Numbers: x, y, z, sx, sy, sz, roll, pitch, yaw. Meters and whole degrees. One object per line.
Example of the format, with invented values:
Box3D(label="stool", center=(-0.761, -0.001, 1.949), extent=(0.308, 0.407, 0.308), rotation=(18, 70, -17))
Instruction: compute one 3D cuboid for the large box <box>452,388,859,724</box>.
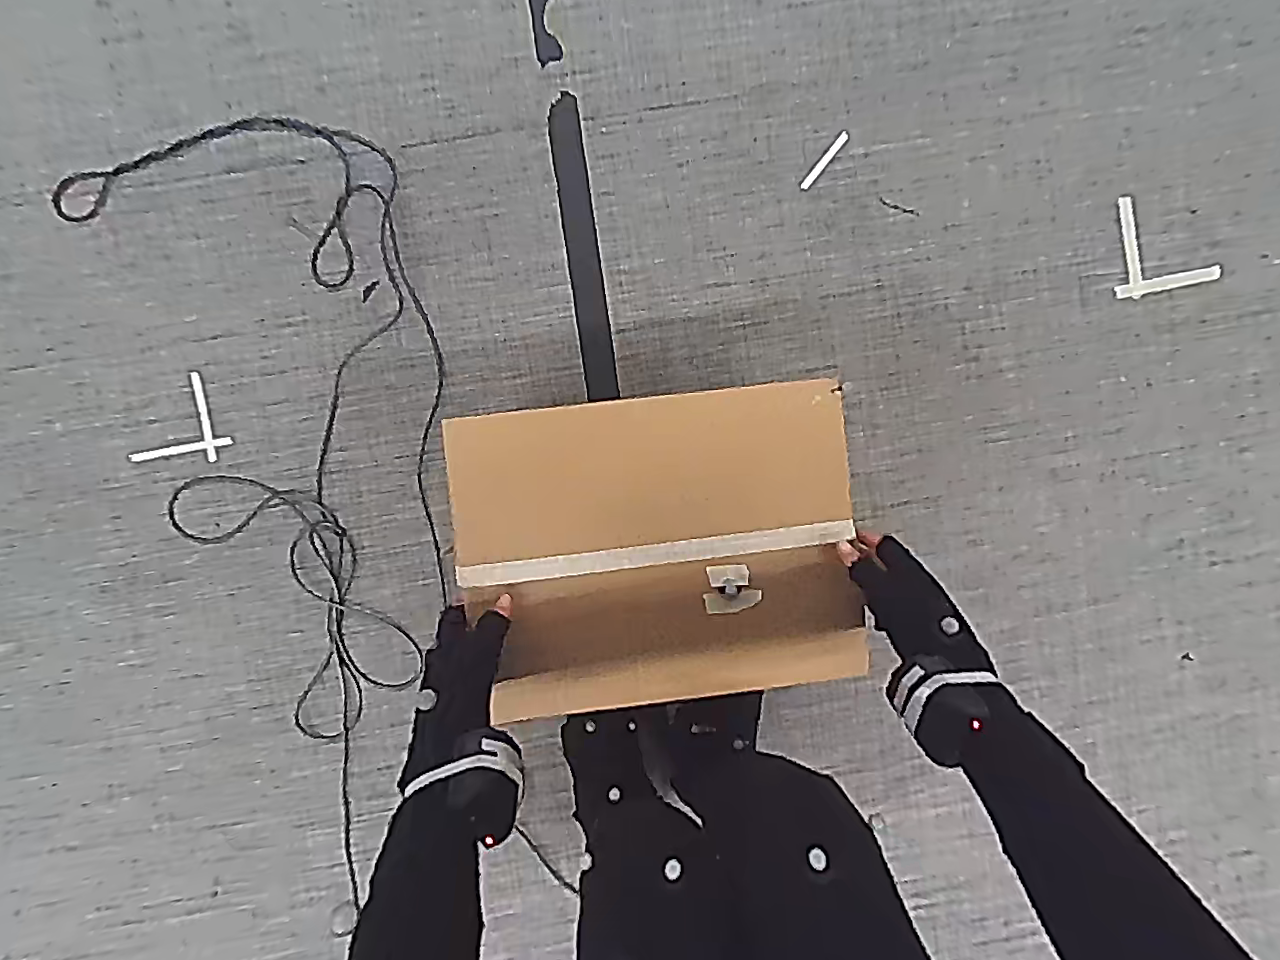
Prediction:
Box3D(label="large box", center=(0.013, 0.076, 0.716), extent=(0.408, 0.320, 0.320), rotation=(-7, 93, -2))
